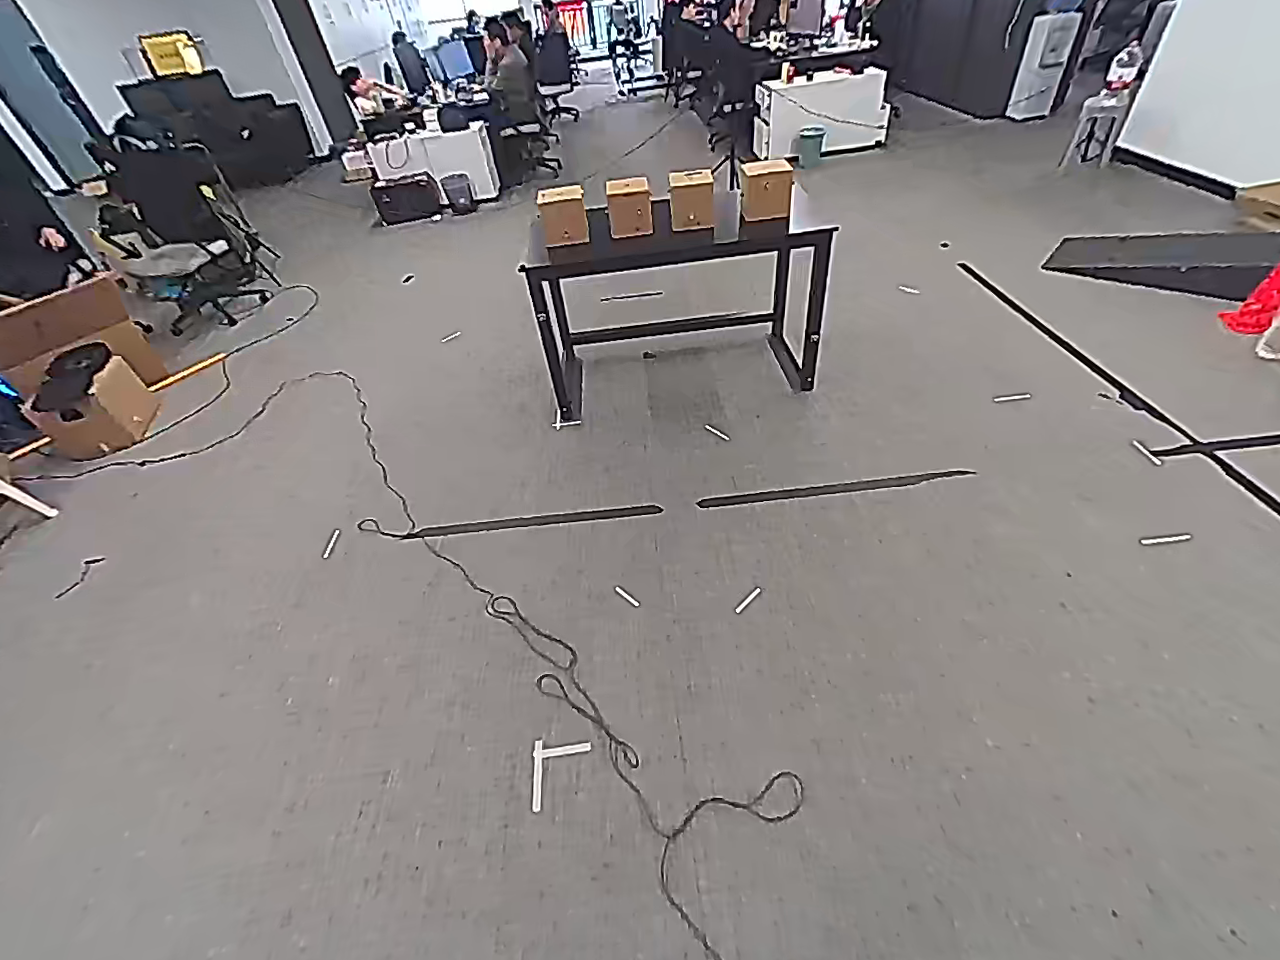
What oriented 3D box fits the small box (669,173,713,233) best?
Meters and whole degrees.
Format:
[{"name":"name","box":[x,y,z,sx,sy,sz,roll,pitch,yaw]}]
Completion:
[{"name":"small box","box":[0.202,-1.104,2.155,0.168,0.176,0.179,-4,44,4]}]

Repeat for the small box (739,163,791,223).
[{"name":"small box","box":[0.492,-1.136,2.145,0.179,0.176,0.168,-5,43,3]}]

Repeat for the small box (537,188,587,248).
[{"name":"small box","box":[-0.306,-1.050,2.170,0.179,0.176,0.168,-7,43,-1]}]

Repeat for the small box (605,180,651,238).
[{"name":"small box","box":[-0.046,-1.084,2.172,0.168,0.176,0.179,-6,42,0]}]
